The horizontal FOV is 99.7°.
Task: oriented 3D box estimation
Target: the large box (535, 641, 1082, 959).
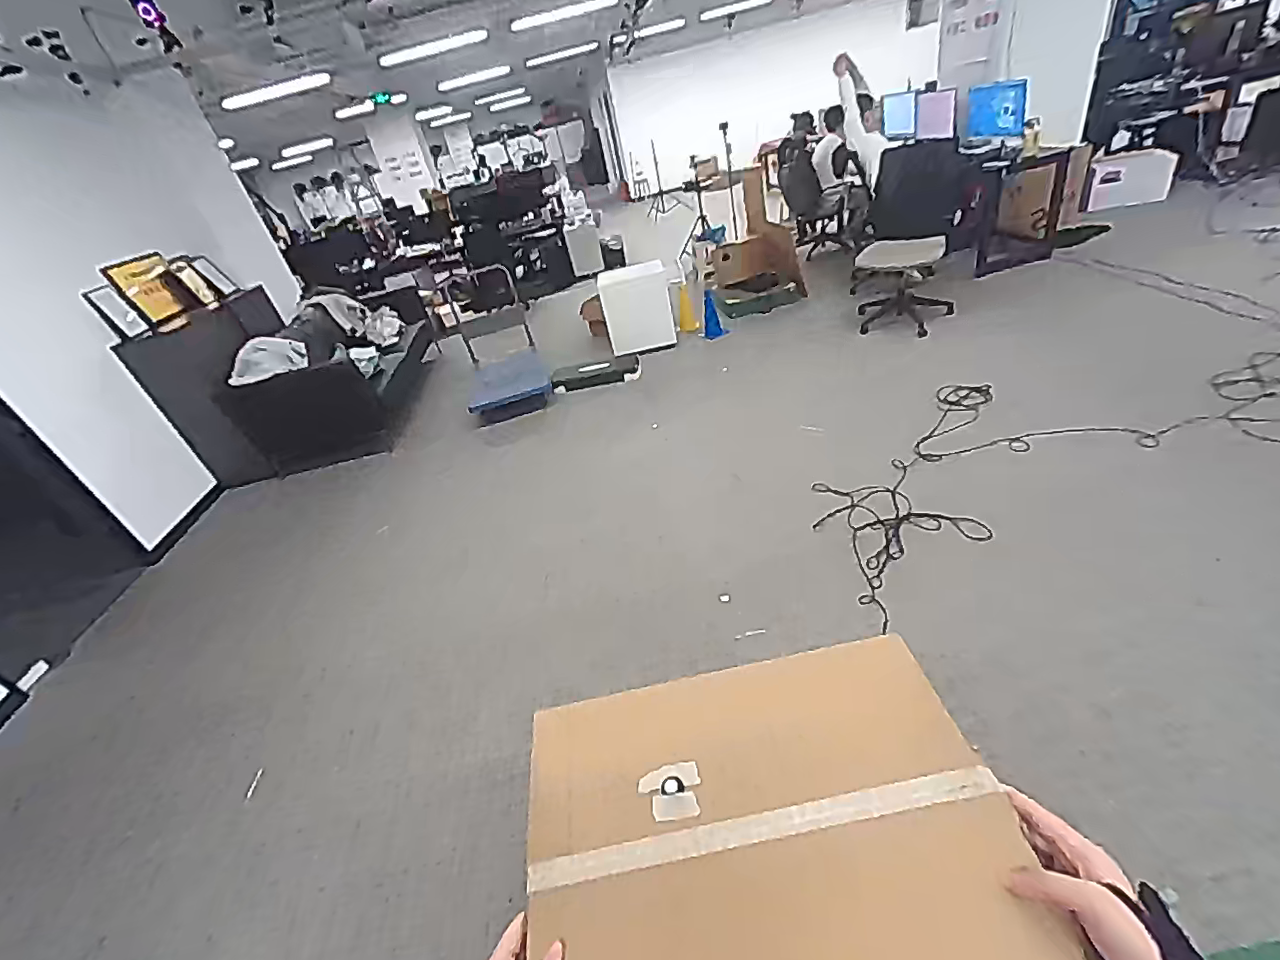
[{"bbox_3d":[0.135,0.426,0.563,0.408,0.320,0.320,-14,37,2],"label":"large box"}]
